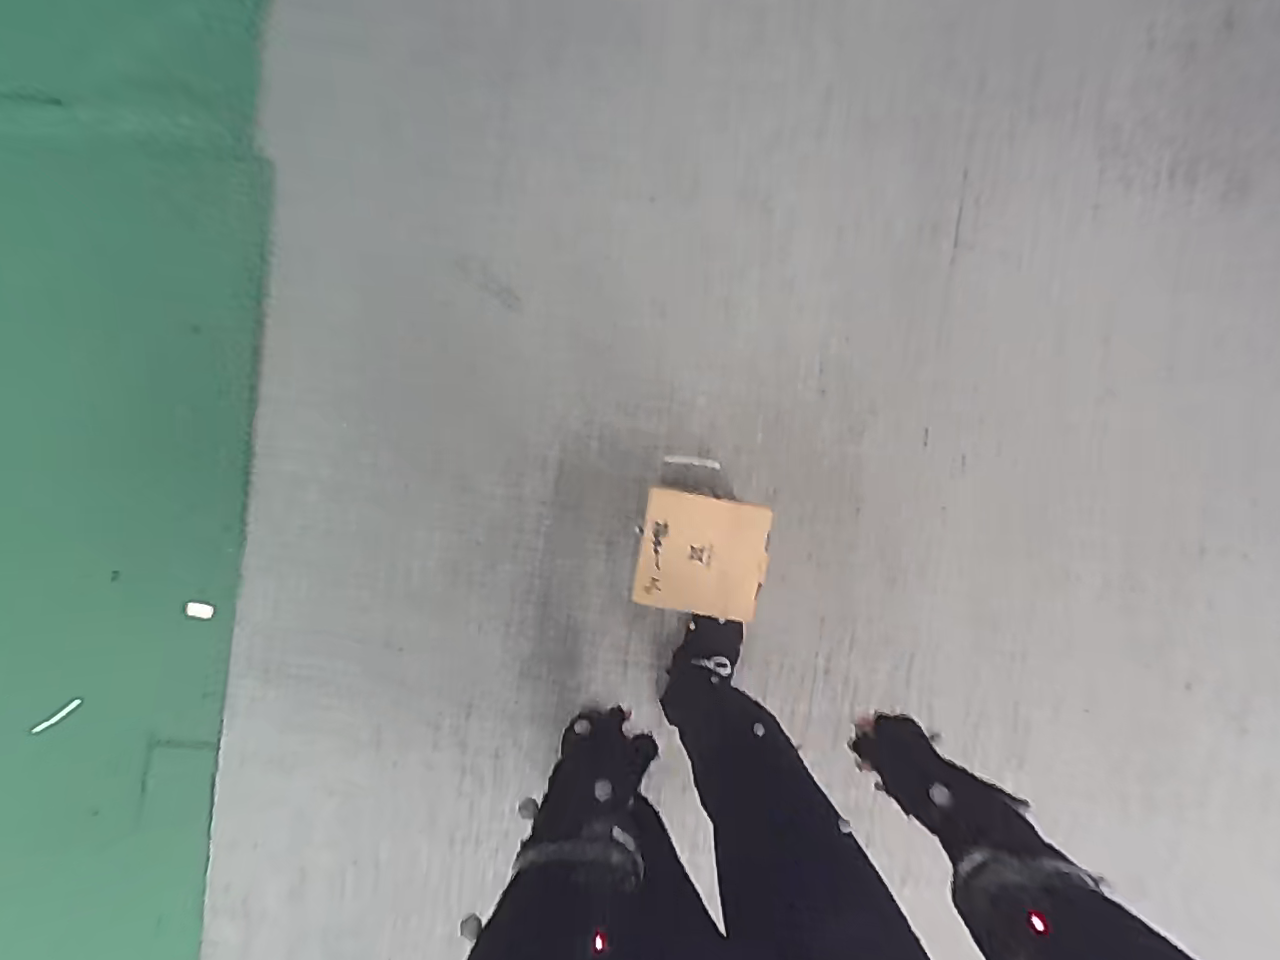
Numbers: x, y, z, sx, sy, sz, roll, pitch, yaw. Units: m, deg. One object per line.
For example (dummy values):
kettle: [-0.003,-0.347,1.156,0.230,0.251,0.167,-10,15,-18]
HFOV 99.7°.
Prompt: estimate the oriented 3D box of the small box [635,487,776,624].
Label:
small box: [0.093,0.107,0.844,0.179,0.176,0.168,11,92,1]
